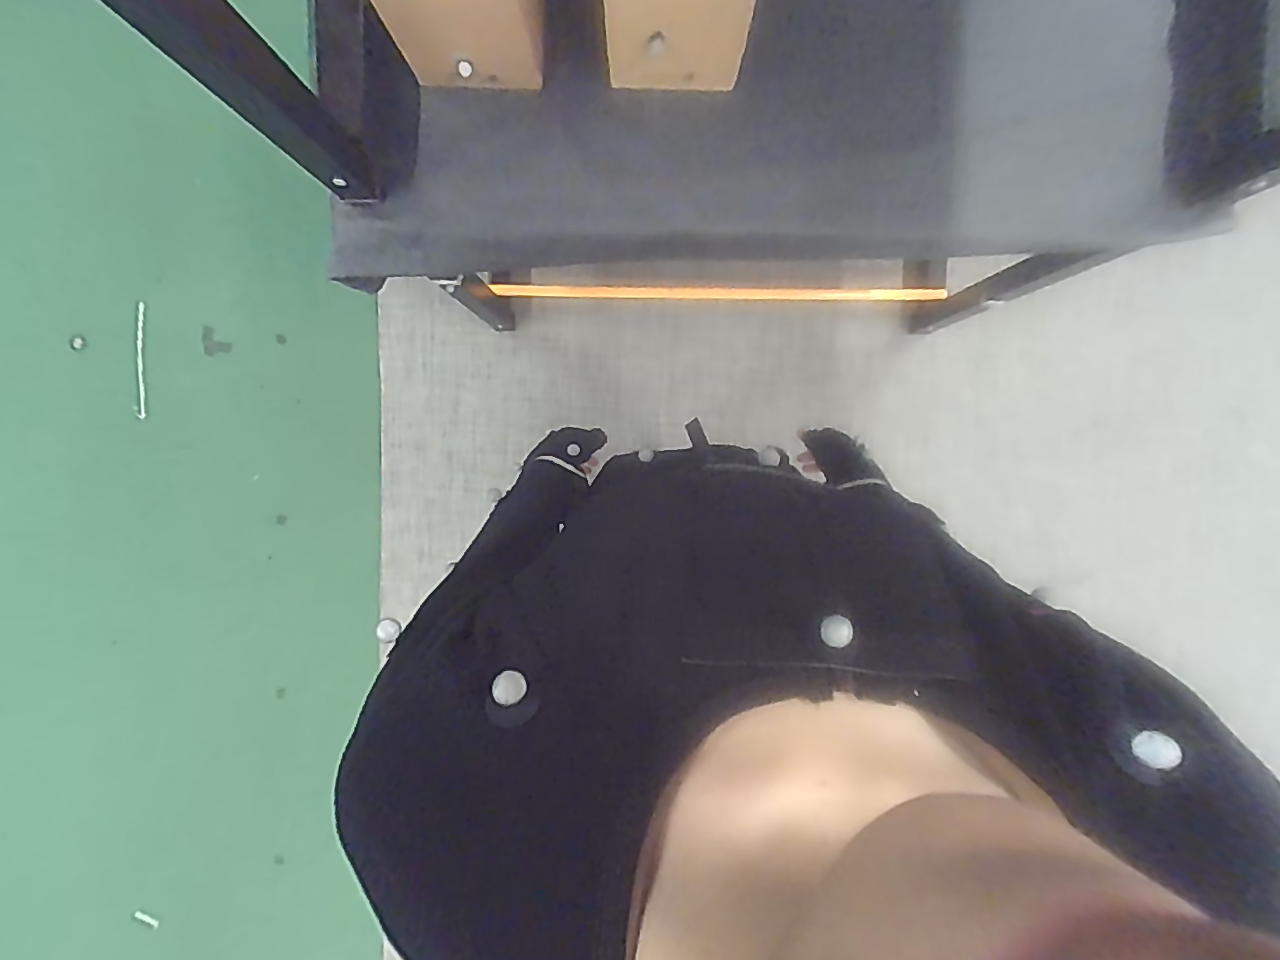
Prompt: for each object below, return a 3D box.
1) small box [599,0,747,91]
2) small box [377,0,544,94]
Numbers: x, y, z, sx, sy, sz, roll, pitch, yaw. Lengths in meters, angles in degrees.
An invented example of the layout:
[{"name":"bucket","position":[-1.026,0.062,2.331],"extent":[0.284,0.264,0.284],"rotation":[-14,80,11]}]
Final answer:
[{"name":"small box","position":[0.041,-0.603,0.645],"extent":[0.168,0.176,0.179],"rotation":[1,93,0]},{"name":"small box","position":[-0.212,-0.606,0.643],"extent":[0.168,0.176,0.179],"rotation":[1,94,0]}]
